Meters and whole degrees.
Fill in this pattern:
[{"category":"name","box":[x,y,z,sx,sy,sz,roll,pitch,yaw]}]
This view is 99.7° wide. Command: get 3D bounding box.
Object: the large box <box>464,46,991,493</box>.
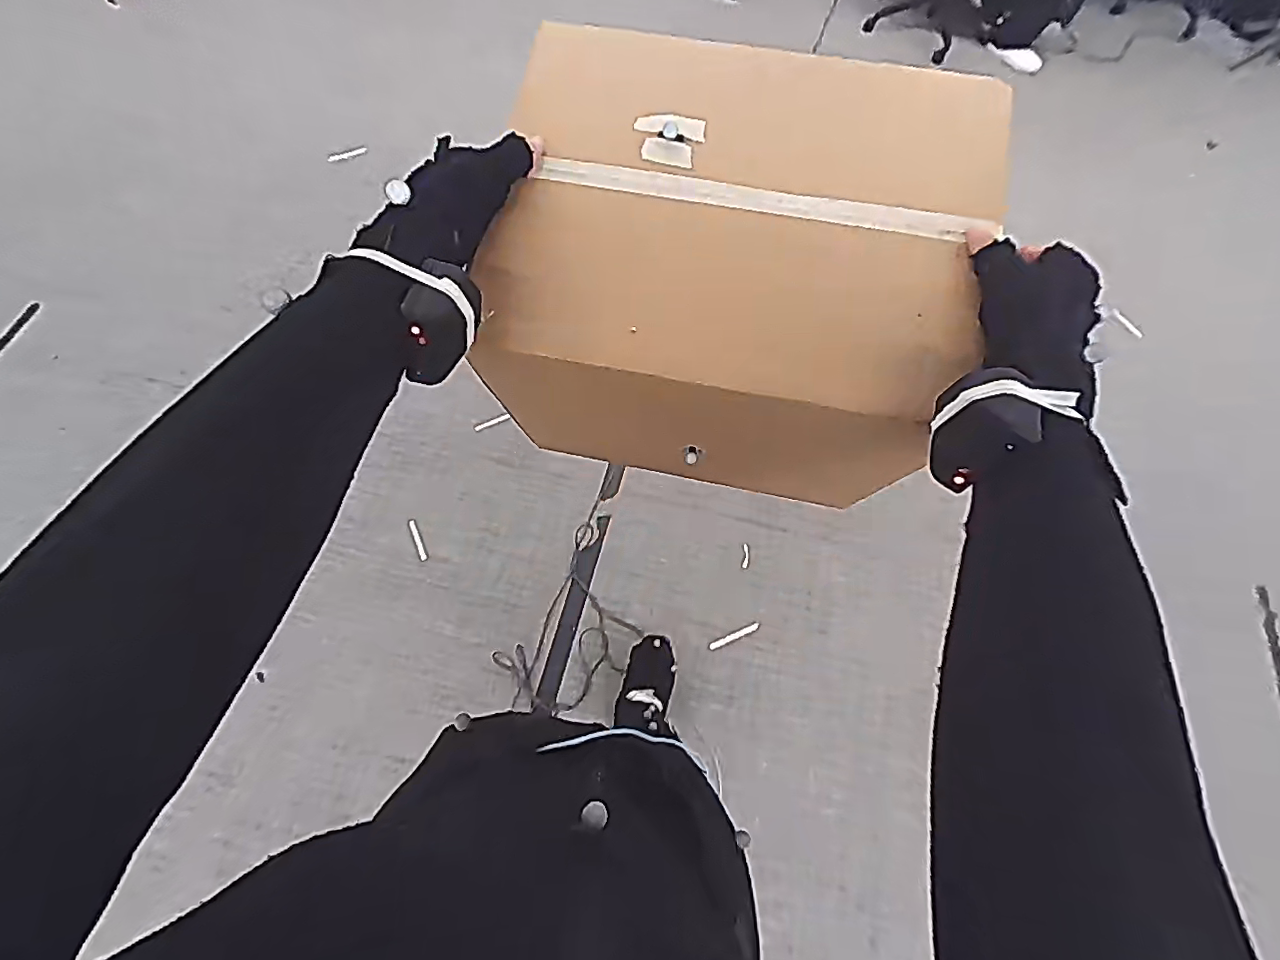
[{"category":"large box","box":[0.089,-0.190,0.595,0.408,0.320,0.320,11,77,6]}]
